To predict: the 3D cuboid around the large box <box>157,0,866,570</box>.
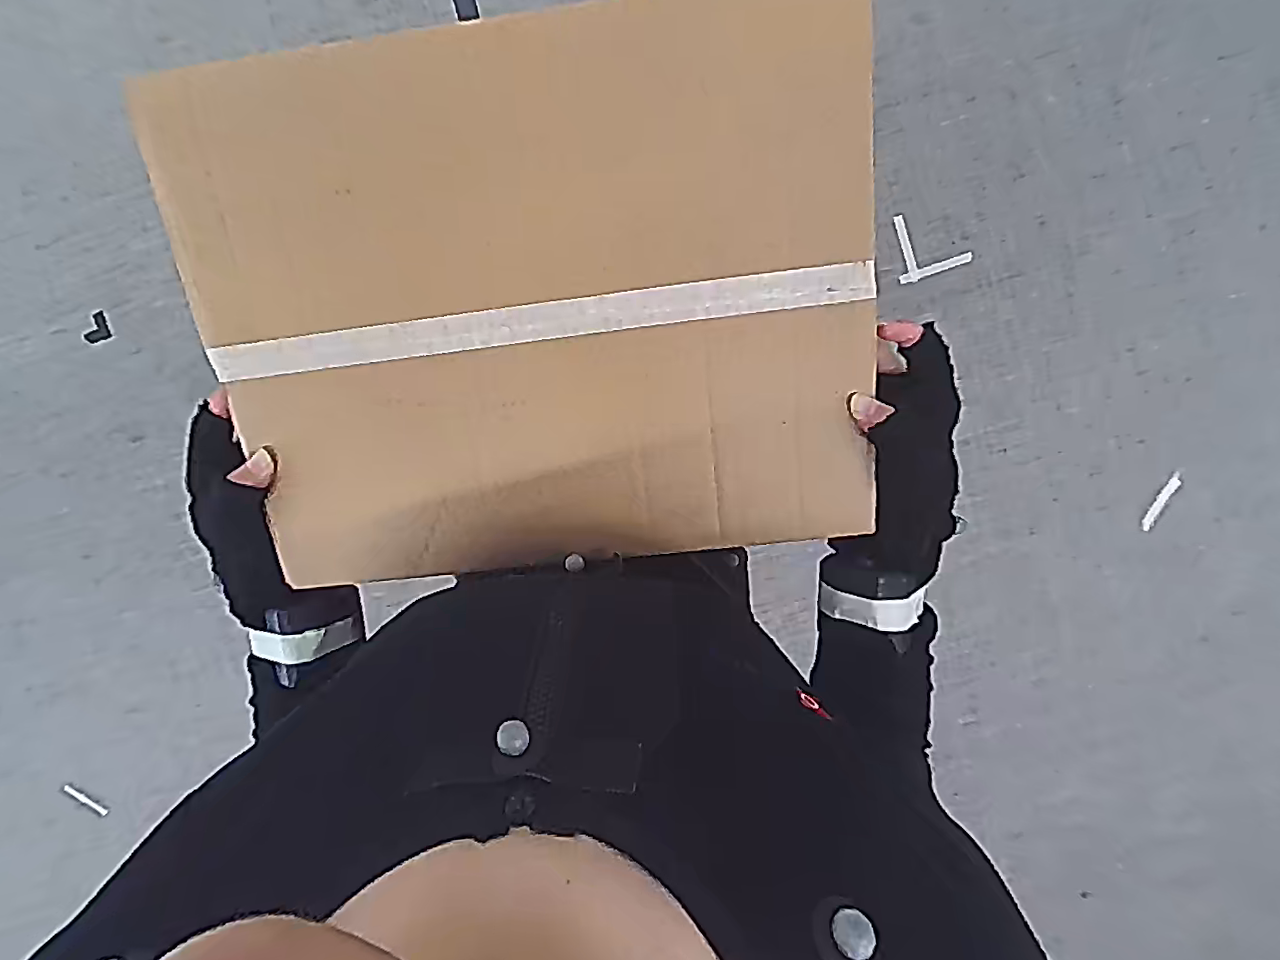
[{"bbox_3d":[-0.061,-0.144,0.479,0.408,0.320,0.320,-6,107,3],"label":"large box"}]
